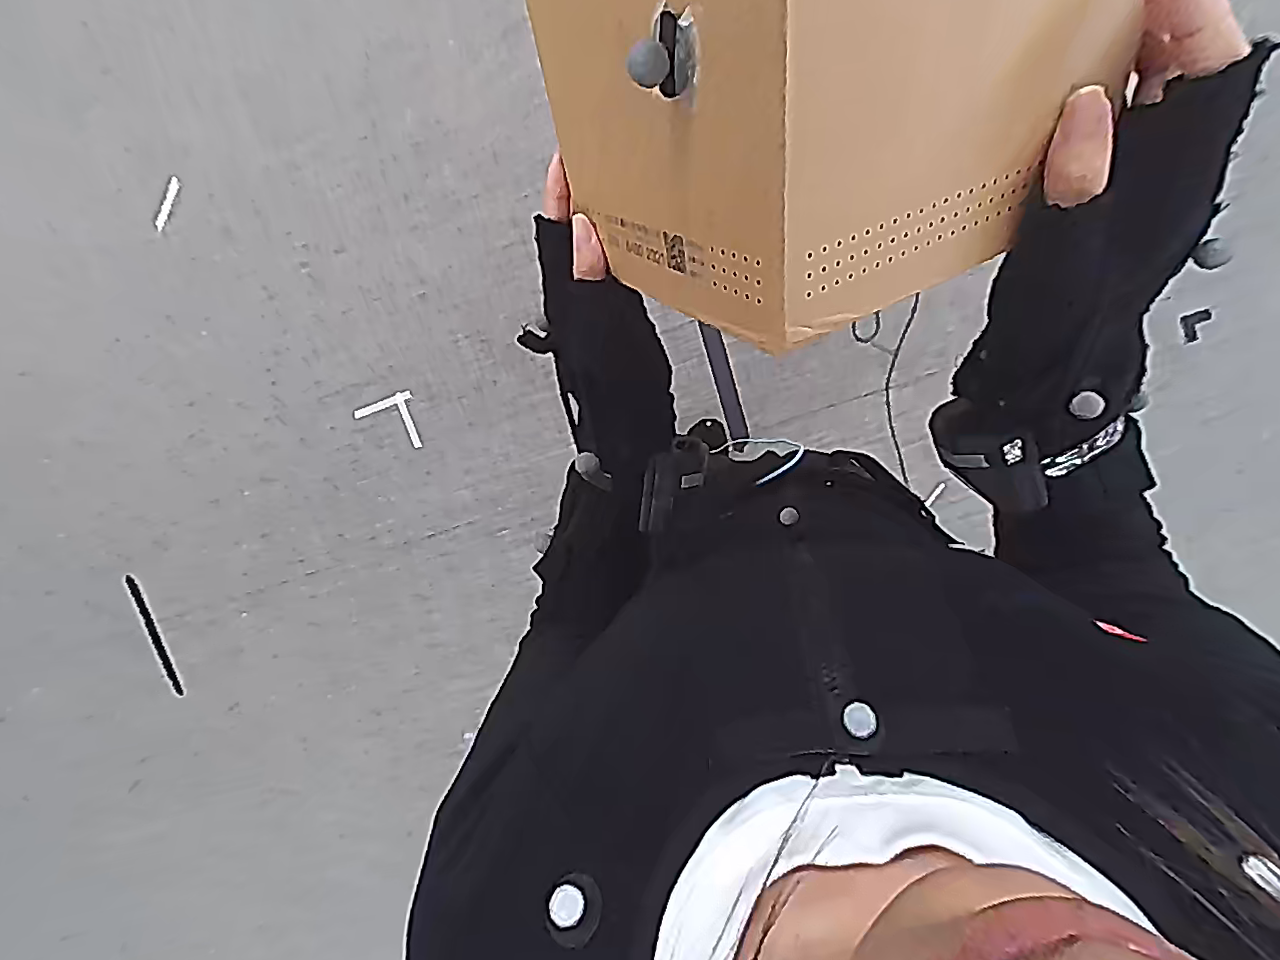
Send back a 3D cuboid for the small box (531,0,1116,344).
[{"bbox_3d":[0.068,-0.178,0.228,0.179,0.168,0.176,-26,131,-16],"label":"small box"}]
